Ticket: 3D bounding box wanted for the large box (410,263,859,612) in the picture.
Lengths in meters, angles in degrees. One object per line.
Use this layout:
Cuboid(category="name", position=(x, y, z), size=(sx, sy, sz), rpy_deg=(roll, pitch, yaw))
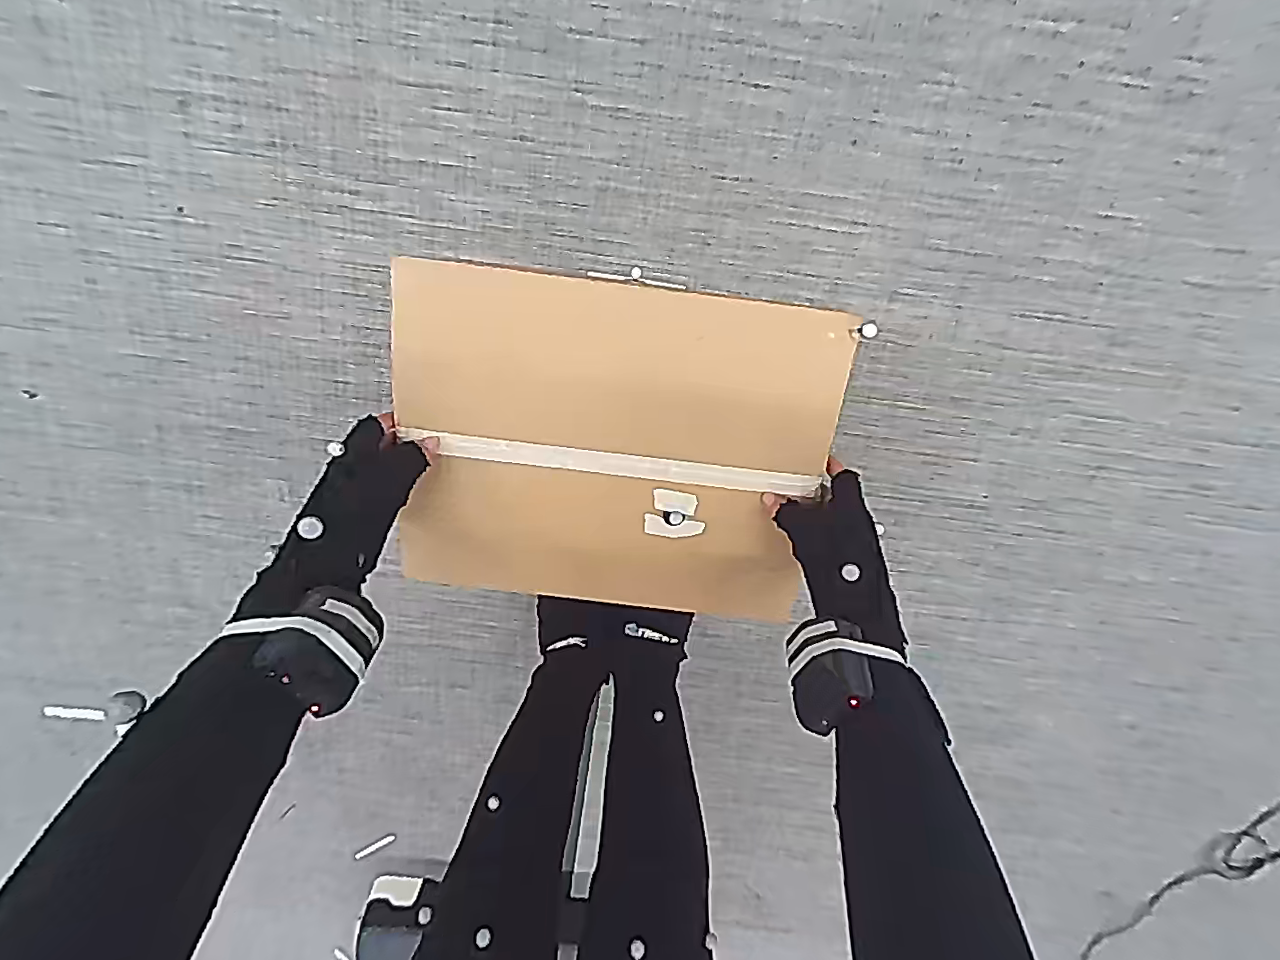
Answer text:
Cuboid(category="large box", position=(-0.018, -0.071, 0.660), size=(0.408, 0.320, 0.320), rpy_deg=(7, 110, -2))
